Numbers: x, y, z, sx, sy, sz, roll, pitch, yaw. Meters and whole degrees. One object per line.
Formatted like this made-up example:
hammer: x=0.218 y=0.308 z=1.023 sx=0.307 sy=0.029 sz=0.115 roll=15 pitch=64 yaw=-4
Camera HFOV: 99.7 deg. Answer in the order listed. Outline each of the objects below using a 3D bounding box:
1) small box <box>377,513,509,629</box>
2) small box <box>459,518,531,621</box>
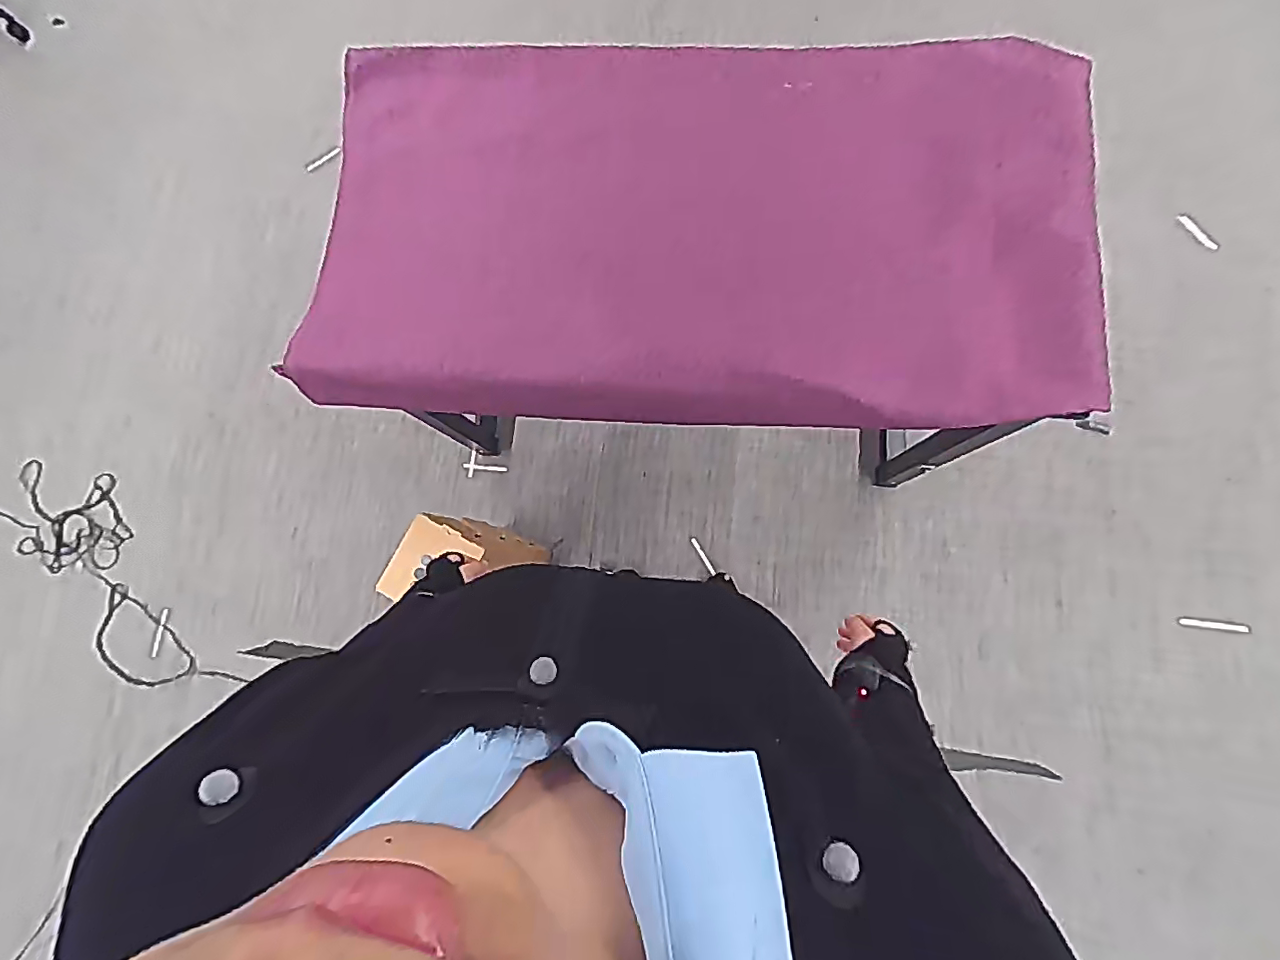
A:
small box: x=-0.402 y=0.191 z=1.140 sx=0.168 sy=0.176 sz=0.179 roll=26 pitch=83 yaw=9
small box: x=-0.384 y=0.214 z=1.301 sx=0.168 sy=0.176 sz=0.179 roll=33 pitch=85 yaw=10
